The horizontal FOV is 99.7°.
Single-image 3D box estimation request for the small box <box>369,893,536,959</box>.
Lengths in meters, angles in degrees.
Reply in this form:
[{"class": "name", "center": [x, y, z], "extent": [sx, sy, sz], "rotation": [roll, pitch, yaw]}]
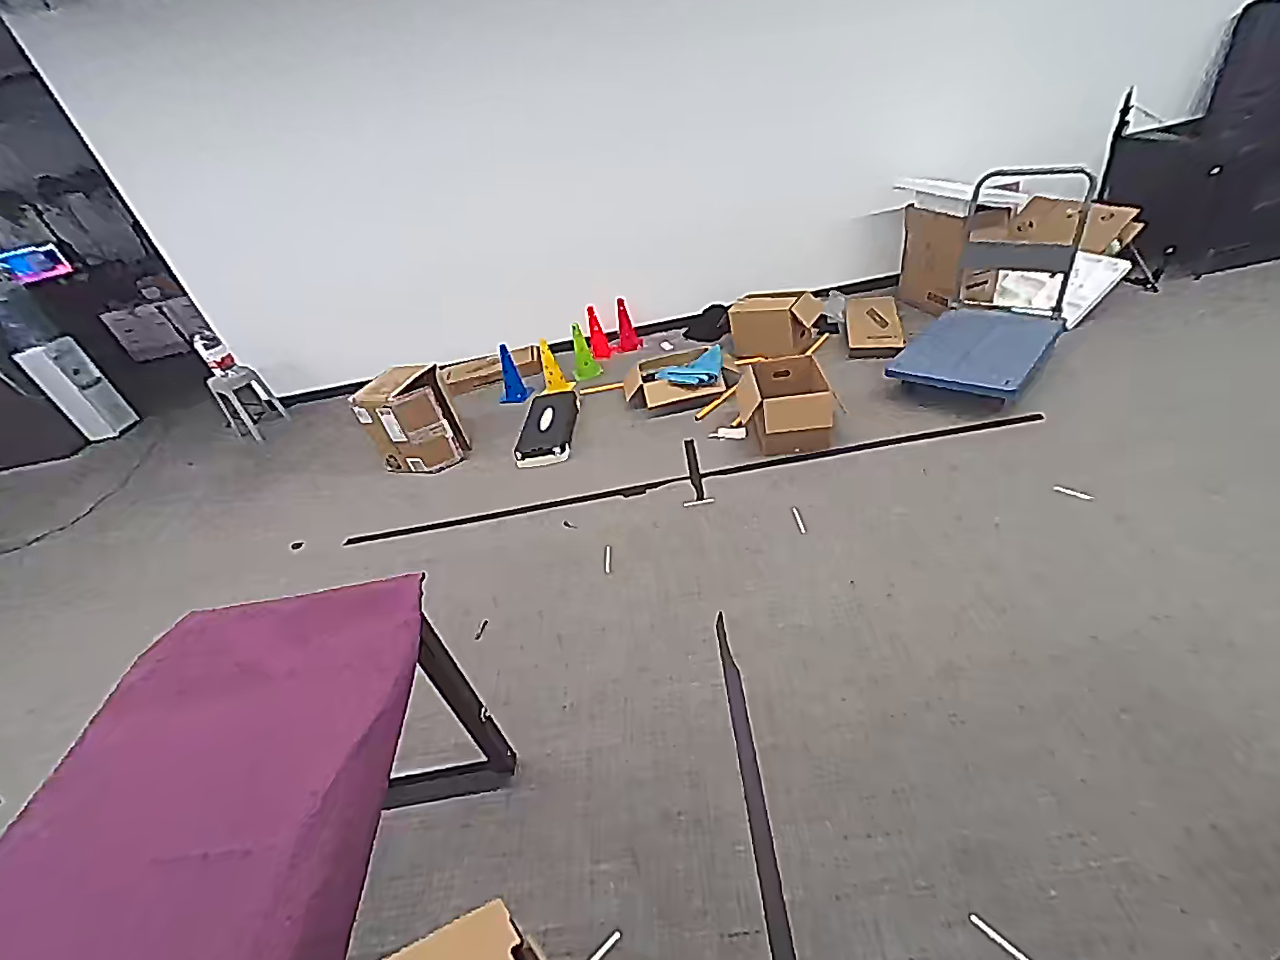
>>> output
[{"class": "small box", "center": [-0.198, 0.590, 0.545], "extent": [0.179, 0.176, 0.168], "rotation": [3, 15, -43]}]
